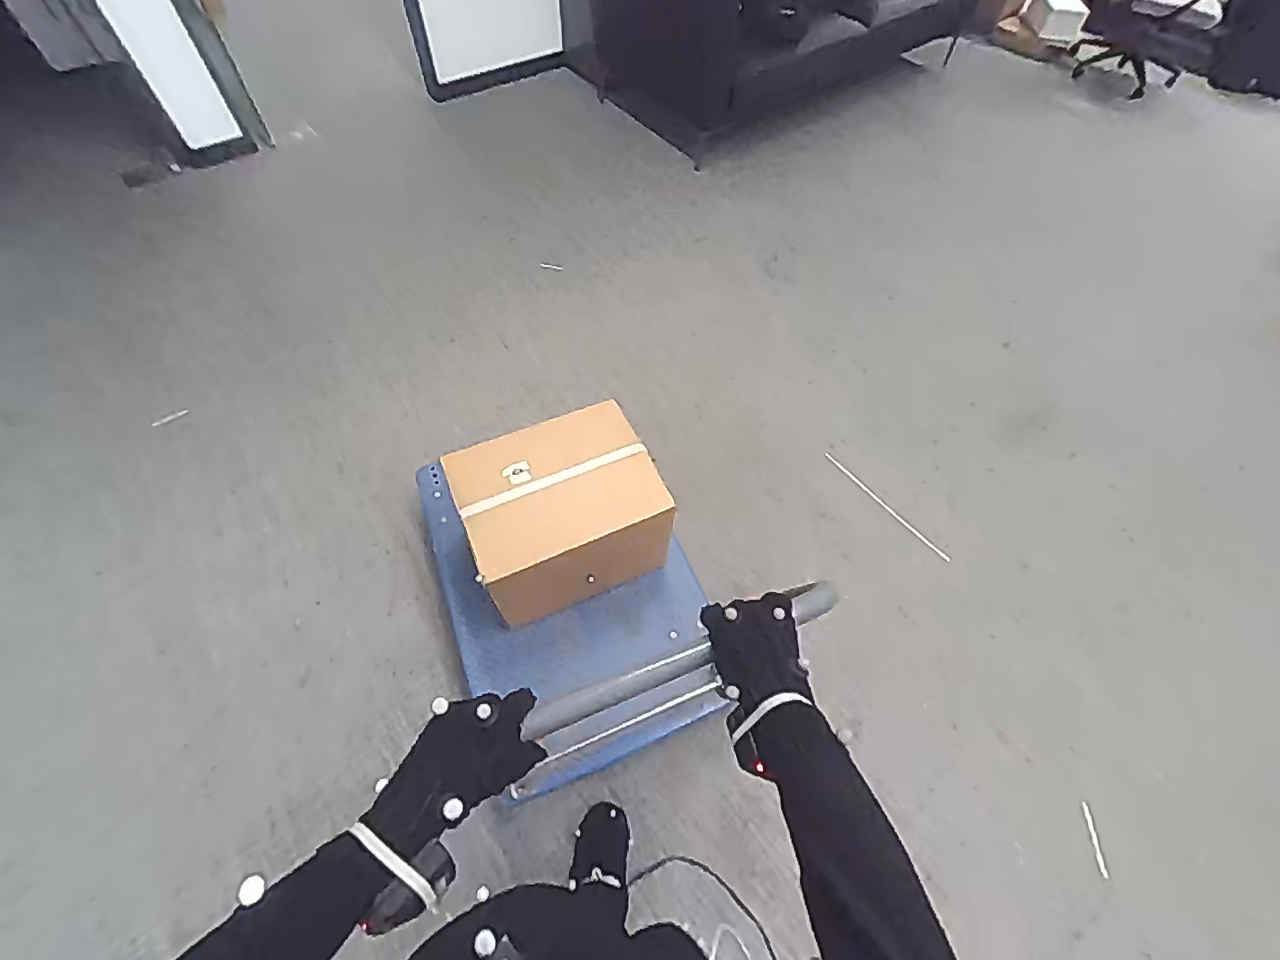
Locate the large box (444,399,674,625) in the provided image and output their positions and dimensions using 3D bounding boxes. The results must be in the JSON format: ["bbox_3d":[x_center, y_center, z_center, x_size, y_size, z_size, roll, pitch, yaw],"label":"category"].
[{"bbox_3d":[-0.176,0.079,1.247,0.408,0.320,0.320,-22,62,-15],"label":"large box"}]
